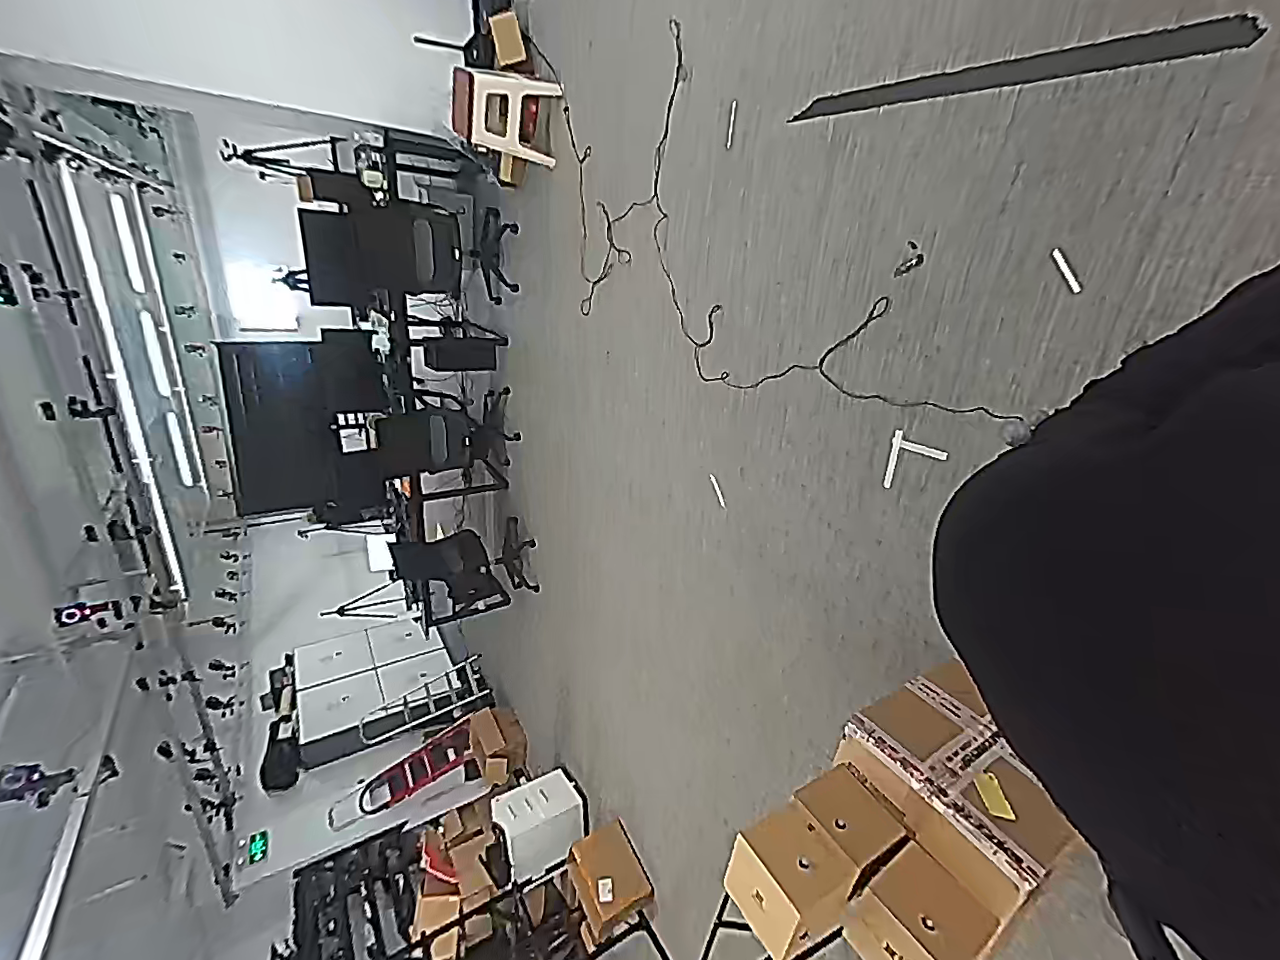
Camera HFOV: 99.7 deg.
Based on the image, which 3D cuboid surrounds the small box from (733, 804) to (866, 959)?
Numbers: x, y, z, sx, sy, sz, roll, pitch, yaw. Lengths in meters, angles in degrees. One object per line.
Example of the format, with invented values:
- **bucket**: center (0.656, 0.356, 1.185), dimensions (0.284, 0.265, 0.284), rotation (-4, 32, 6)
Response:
- **small box**: center (0.312, 0.784, 1.059), dimensions (0.168, 0.176, 0.179), rotation (38, 129, 49)
